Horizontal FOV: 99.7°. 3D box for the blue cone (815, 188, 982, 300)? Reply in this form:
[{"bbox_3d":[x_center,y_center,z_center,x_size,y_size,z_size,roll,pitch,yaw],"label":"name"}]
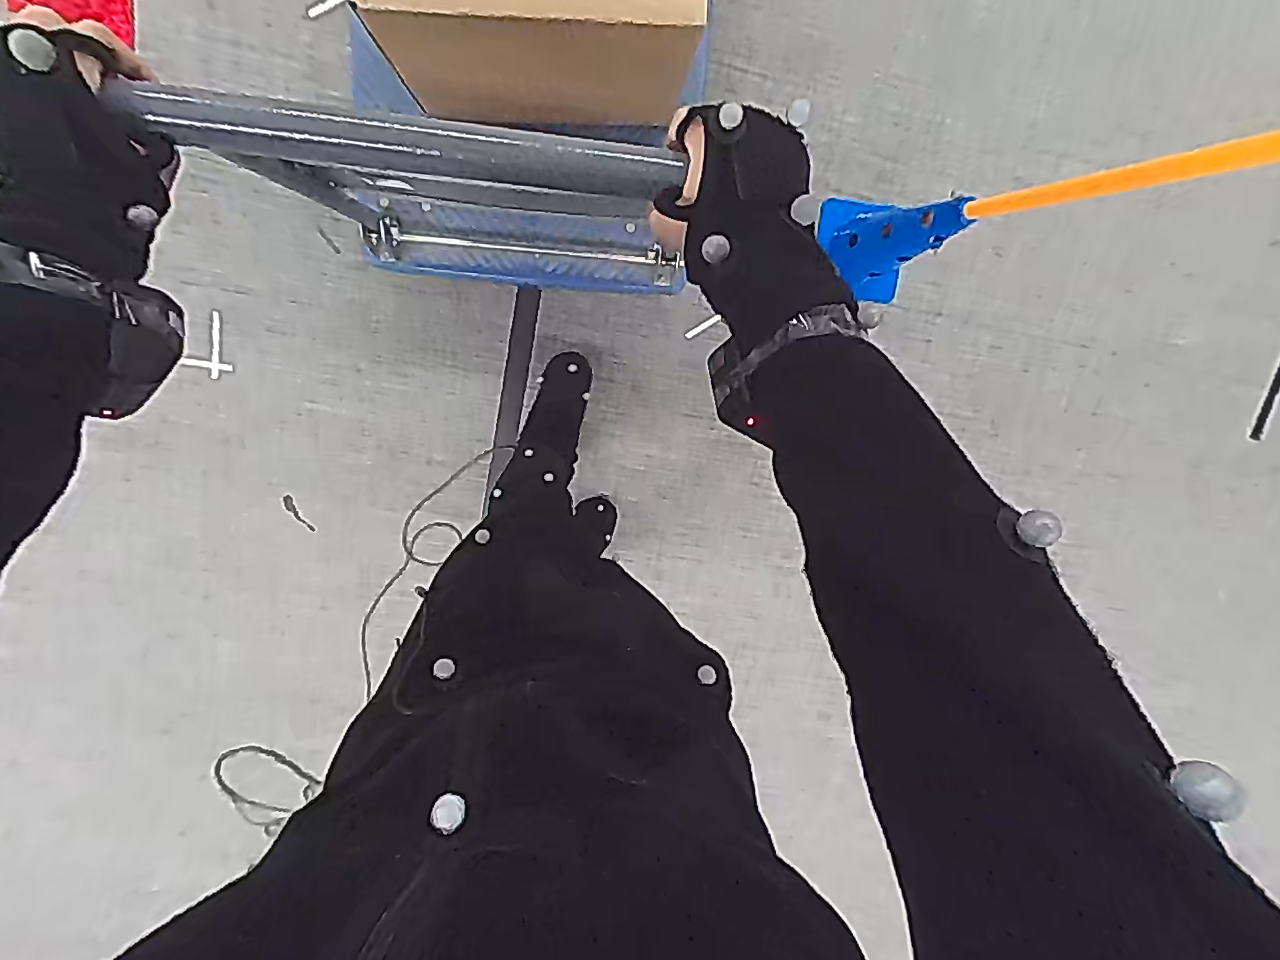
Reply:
[{"bbox_3d":[0.499,-0.466,1.026,0.193,0.380,0.192,5,101,-7],"label":"blue cone"}]
